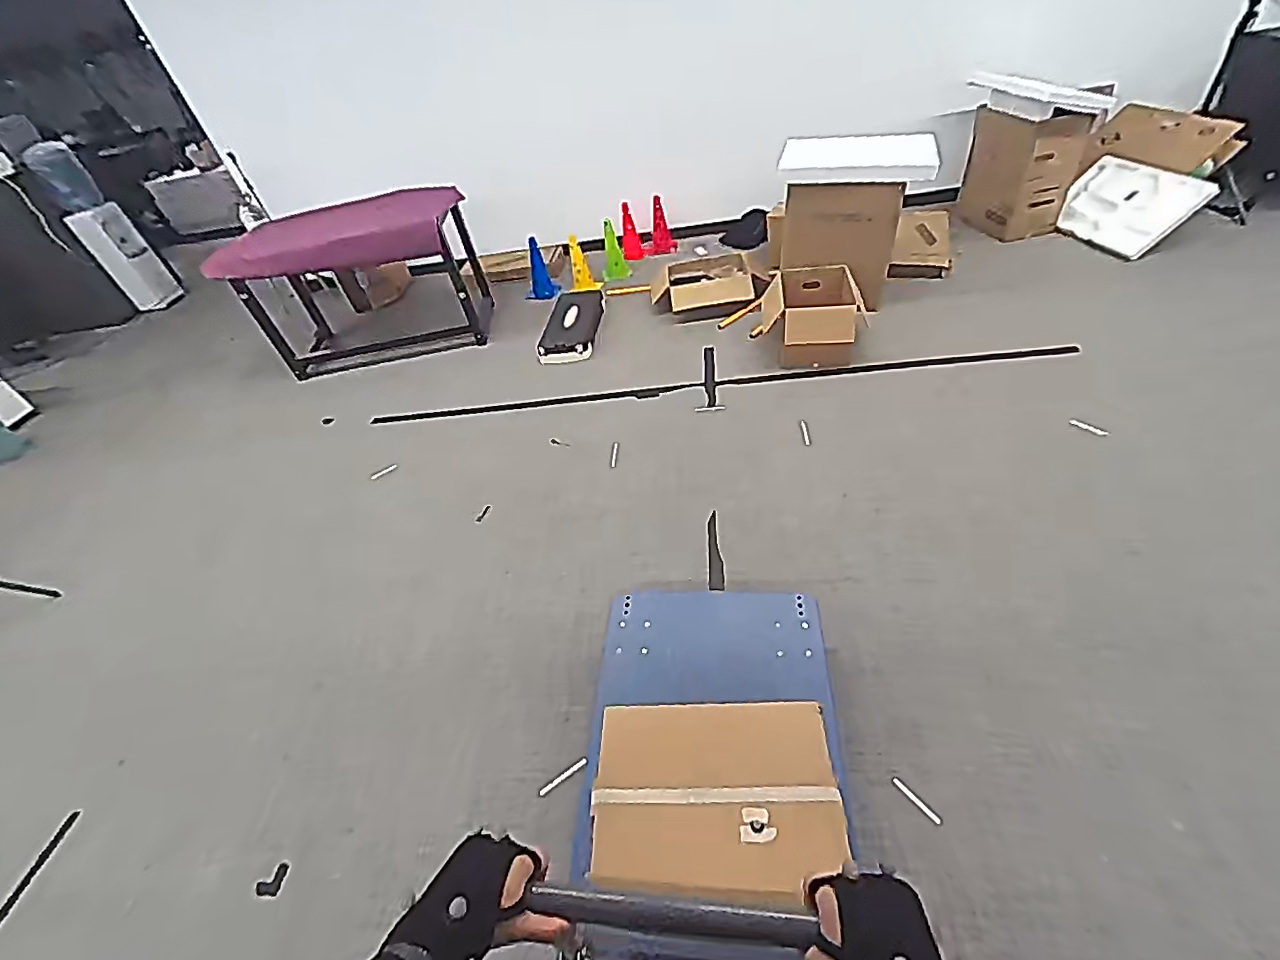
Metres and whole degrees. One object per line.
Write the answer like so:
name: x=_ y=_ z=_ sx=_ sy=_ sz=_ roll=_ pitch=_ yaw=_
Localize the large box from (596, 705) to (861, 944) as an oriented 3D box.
large box: x=0.148 y=0.645 z=1.011 sx=0.408 sy=0.320 sz=0.320 roll=-4 pitch=44 yaw=6
